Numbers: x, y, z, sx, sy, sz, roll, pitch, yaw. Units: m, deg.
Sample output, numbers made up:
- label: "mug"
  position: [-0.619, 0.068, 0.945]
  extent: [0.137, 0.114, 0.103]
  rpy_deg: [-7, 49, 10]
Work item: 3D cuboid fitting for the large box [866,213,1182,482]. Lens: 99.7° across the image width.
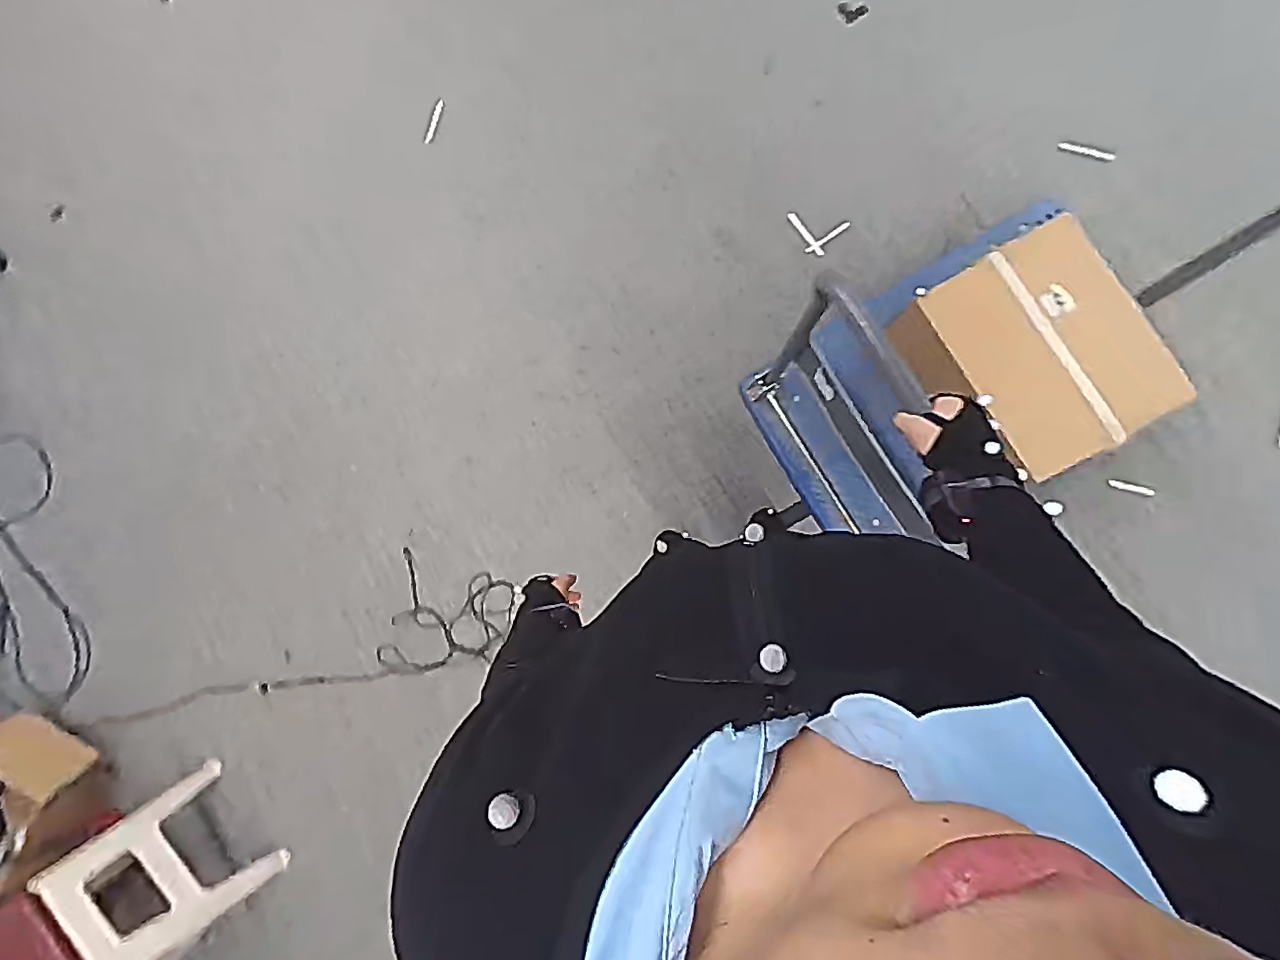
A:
- label: "large box"
  position: [0.759, -0.247, 1.144]
  extent: [0.320, 0.320, 0.408]
  rpy_deg: [-31, 82, 3]
